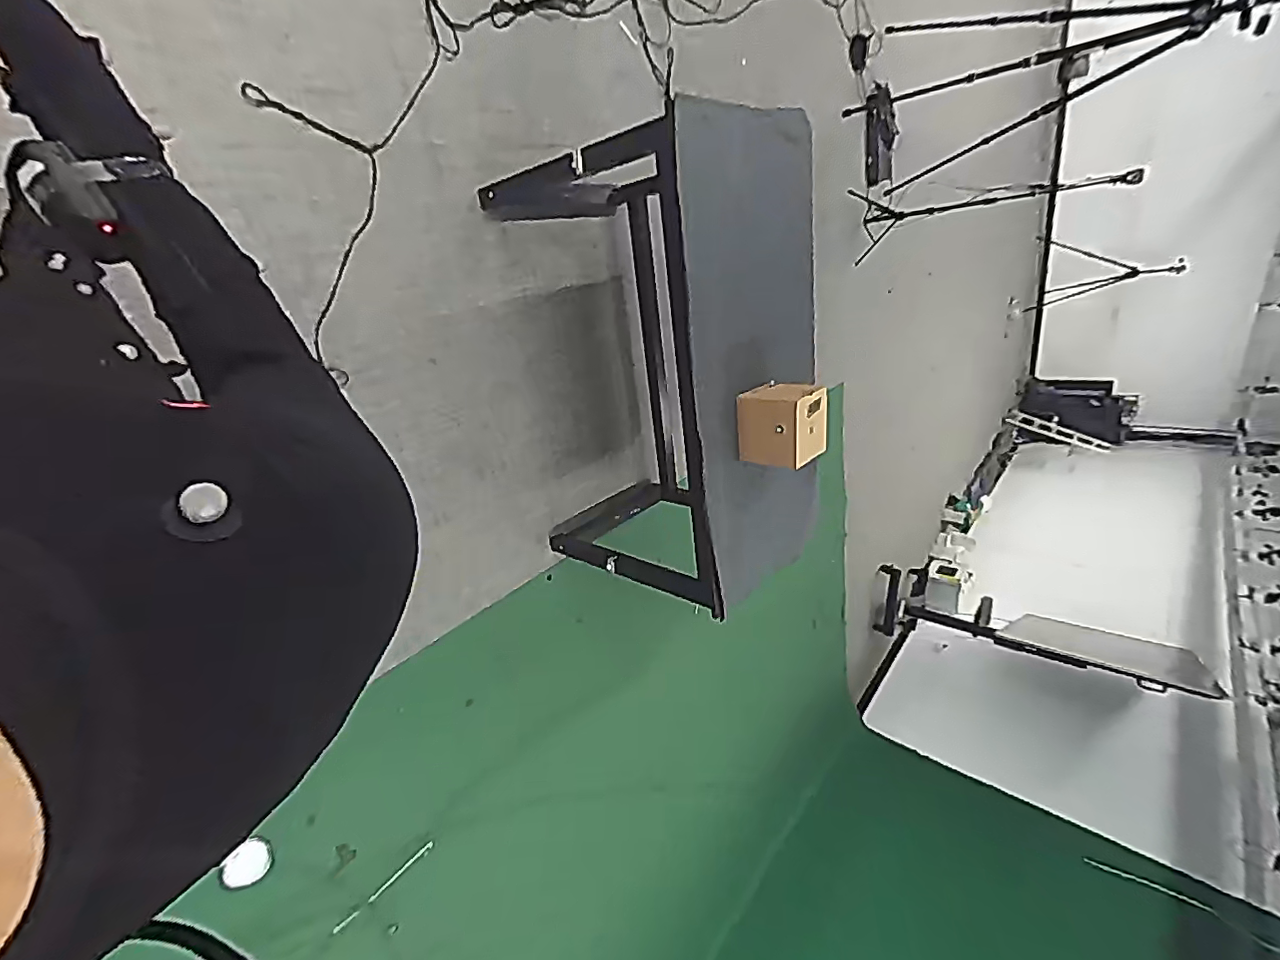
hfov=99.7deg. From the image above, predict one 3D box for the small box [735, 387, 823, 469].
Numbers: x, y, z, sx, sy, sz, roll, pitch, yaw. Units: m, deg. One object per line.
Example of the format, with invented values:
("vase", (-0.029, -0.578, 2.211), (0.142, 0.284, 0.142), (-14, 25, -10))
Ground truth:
("small box", (0.358, -0.142, 1.399), (0.168, 0.176, 0.179), (-26, 118, -42))
